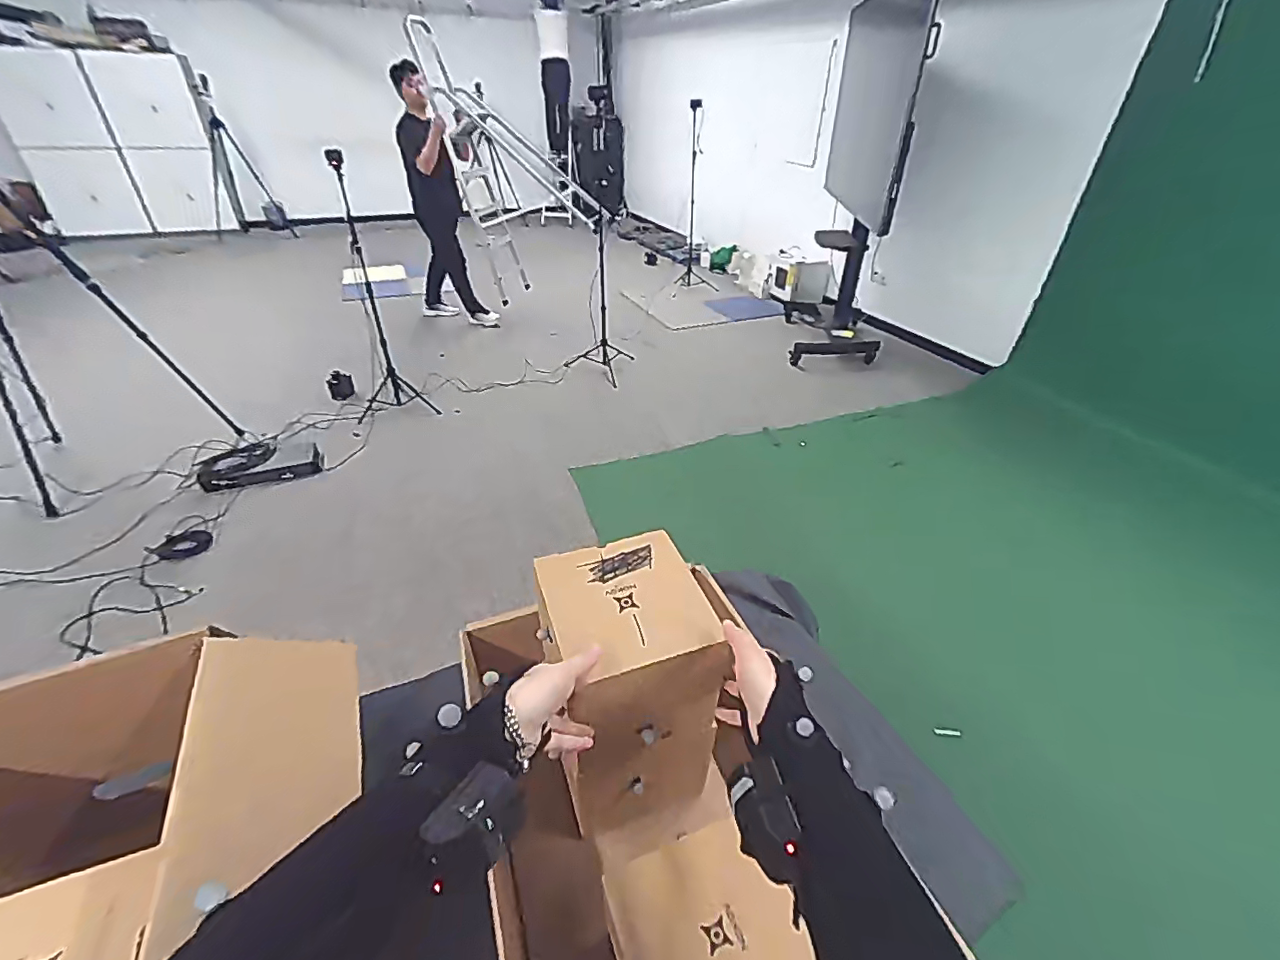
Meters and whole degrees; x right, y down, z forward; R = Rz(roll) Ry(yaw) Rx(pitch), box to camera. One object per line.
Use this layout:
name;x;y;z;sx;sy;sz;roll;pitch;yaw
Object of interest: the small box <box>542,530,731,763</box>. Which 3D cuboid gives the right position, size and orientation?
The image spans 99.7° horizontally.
small box;-0.015;0.189;0.634;0.168;0.176;0.179;-11;40;-17
